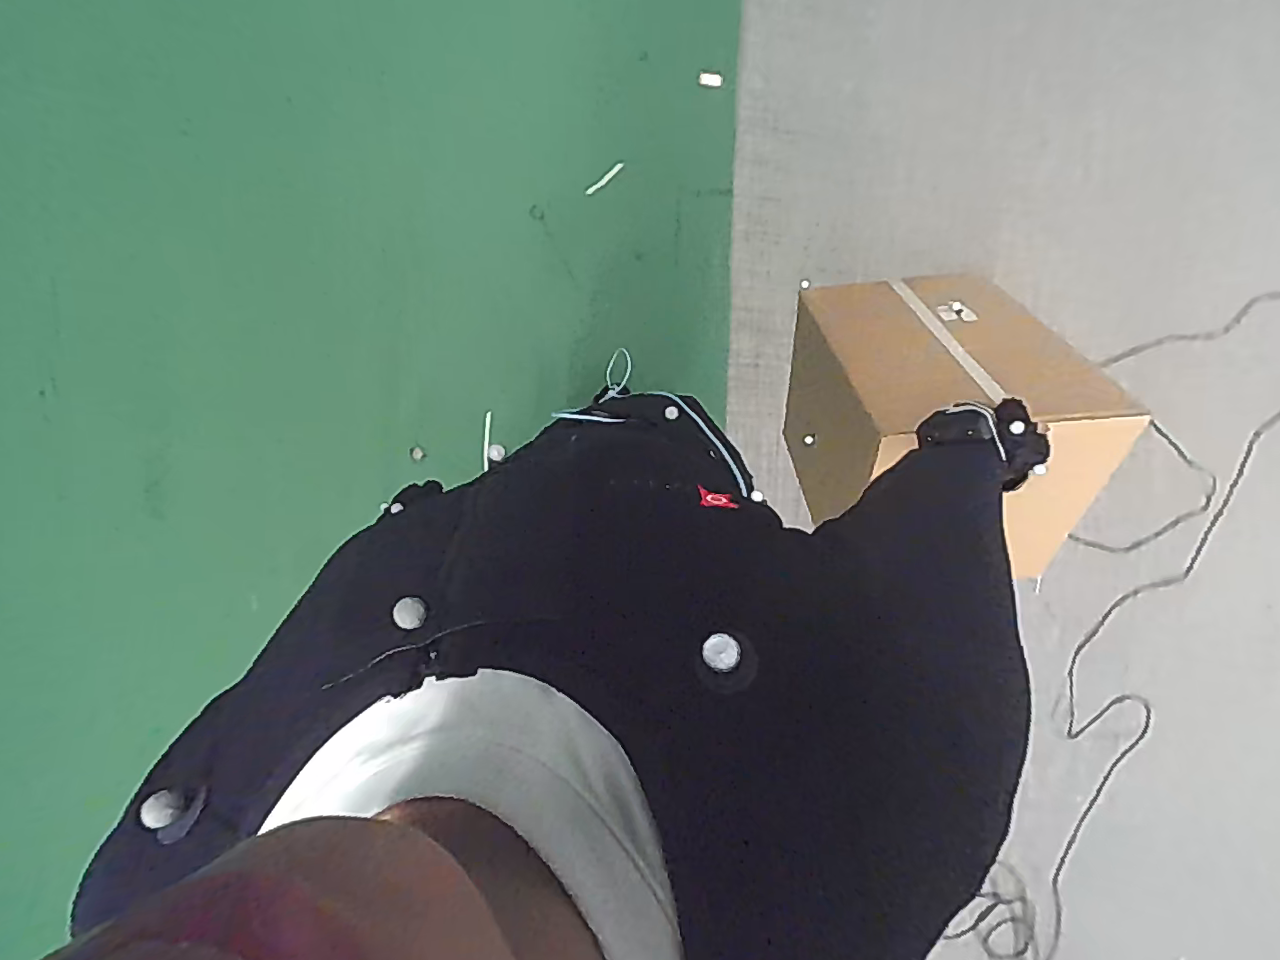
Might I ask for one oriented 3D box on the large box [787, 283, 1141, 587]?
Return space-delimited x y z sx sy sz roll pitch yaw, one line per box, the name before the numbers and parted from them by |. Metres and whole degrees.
large box | 0.452 -0.083 0.889 0.320 0.408 0.320 -3 133 1
